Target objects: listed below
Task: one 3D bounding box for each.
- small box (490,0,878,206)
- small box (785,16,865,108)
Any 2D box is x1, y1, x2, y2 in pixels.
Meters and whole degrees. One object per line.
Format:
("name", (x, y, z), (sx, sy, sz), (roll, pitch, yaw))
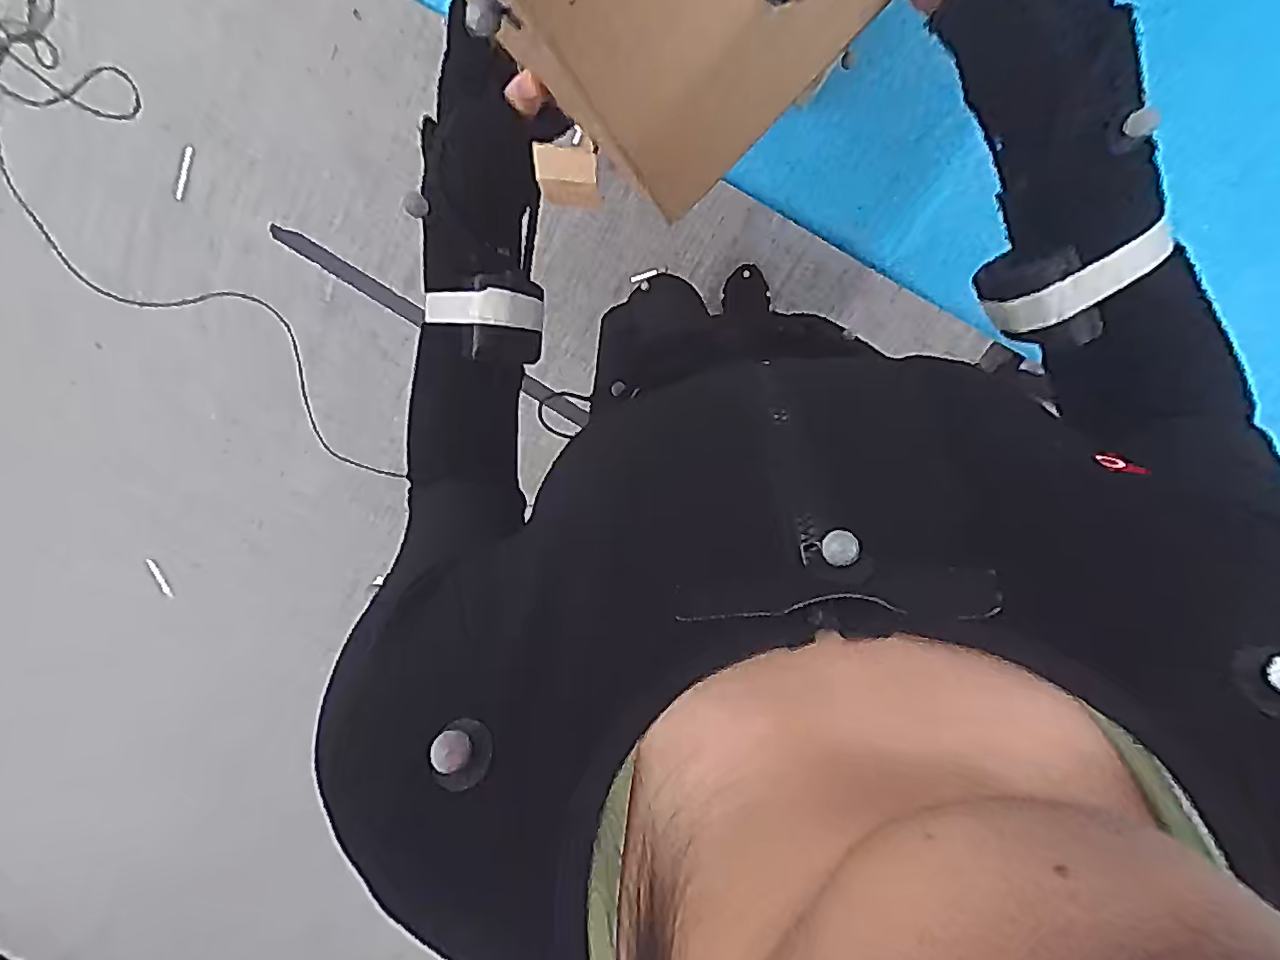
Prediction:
("small box", (0.005, -0.277, 0.240), (0.179, 0.176, 0.168), (-42, 74, 15))
("small box", (0.147, -0.484, 0.475), (0.168, 0.176, 0.179), (35, 111, -7))
